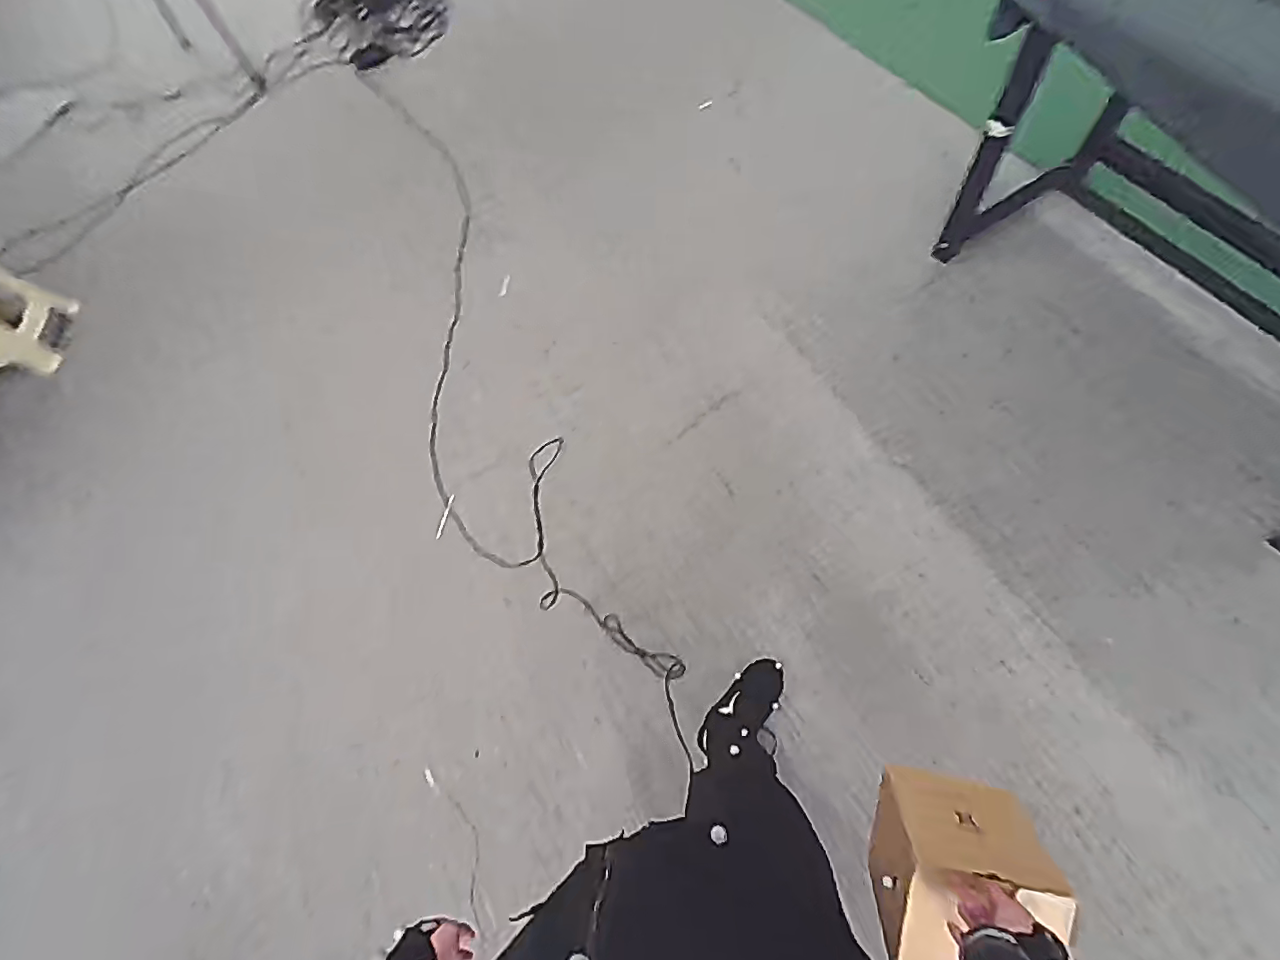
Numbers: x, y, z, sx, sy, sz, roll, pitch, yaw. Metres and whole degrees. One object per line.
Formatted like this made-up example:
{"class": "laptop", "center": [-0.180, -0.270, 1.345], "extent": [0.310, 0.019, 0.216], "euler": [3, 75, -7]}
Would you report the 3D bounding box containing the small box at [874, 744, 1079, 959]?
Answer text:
{"class": "small box", "center": [0.410, 0.484, 0.691], "extent": [0.168, 0.179, 0.176], "euler": [9, 103, 13]}
